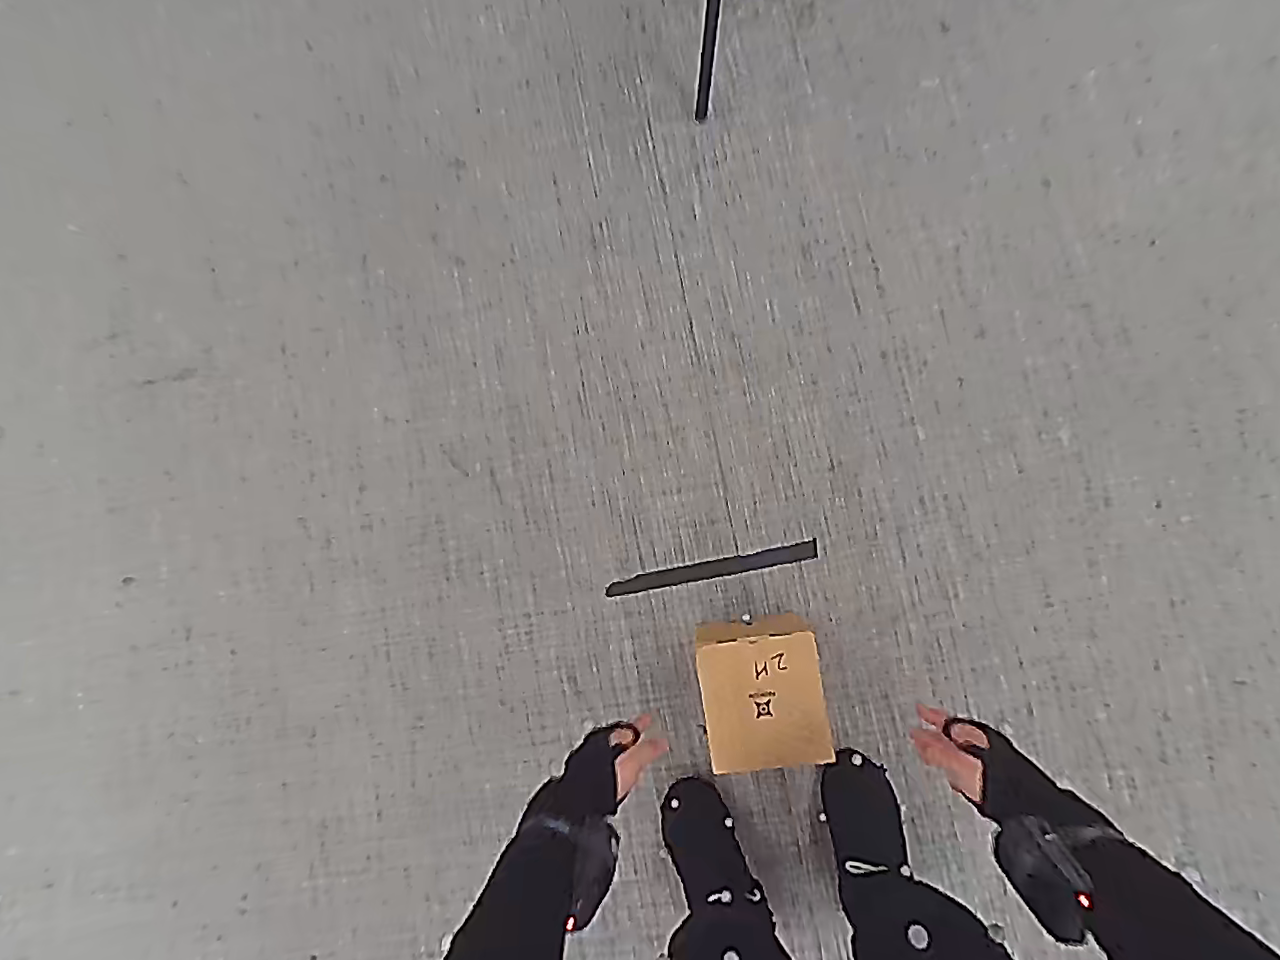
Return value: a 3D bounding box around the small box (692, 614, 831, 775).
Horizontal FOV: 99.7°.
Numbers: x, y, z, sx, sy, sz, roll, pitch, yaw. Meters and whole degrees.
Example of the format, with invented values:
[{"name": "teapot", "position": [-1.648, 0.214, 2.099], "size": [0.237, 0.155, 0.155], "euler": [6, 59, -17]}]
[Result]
[{"name": "small box", "position": [0.172, 0.309, 0.808], "size": [0.168, 0.176, 0.179], "euler": [-9, 83, 5]}]
